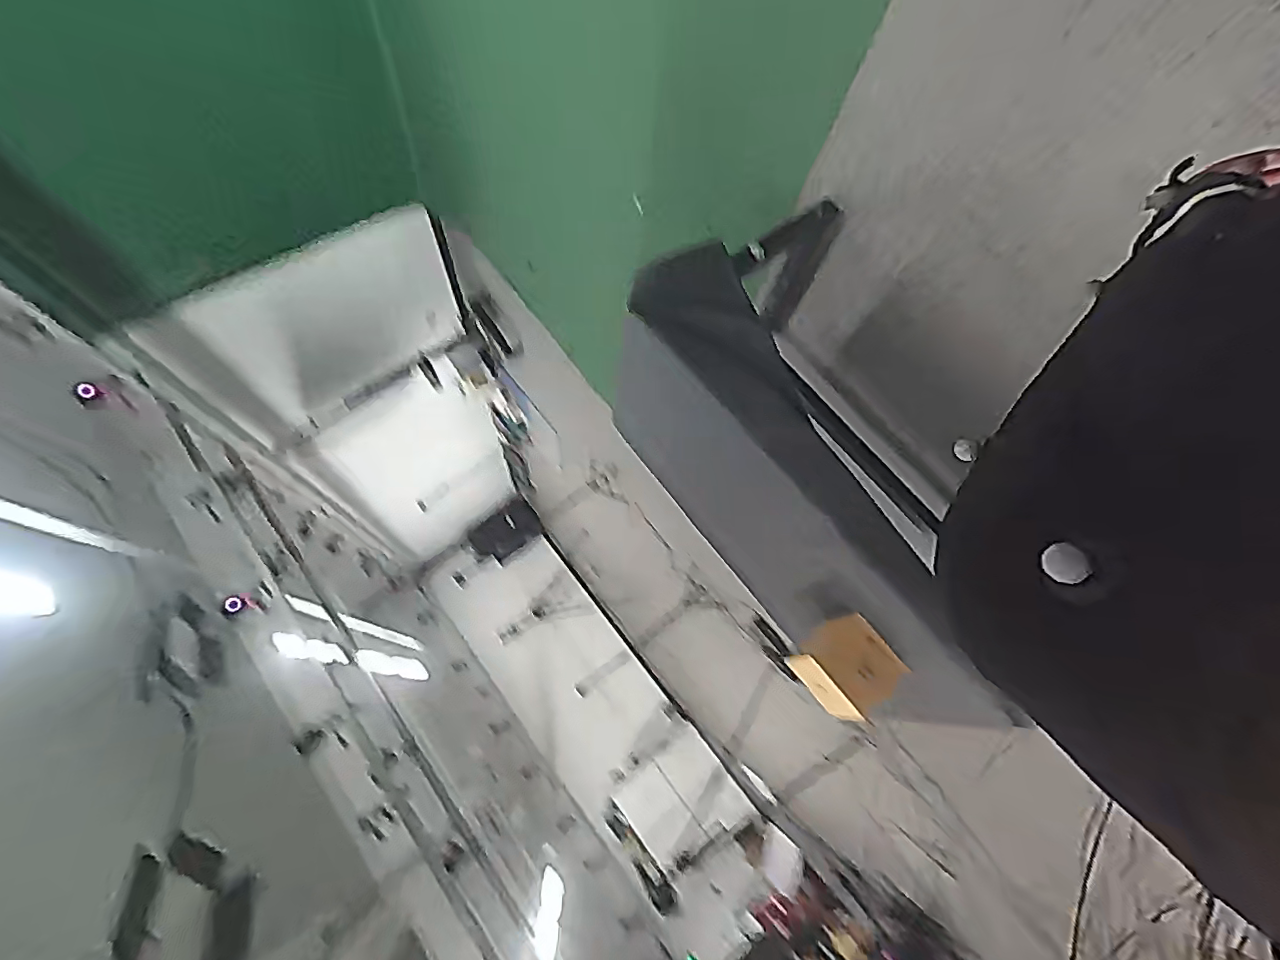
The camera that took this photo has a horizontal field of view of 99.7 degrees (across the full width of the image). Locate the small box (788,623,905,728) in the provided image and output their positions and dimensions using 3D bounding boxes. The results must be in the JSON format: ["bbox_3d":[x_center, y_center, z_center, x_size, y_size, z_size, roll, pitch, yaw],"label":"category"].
[{"bbox_3d":[0.490,0.459,1.280,0.168,0.176,0.179,50,162,15],"label":"small box"}]
